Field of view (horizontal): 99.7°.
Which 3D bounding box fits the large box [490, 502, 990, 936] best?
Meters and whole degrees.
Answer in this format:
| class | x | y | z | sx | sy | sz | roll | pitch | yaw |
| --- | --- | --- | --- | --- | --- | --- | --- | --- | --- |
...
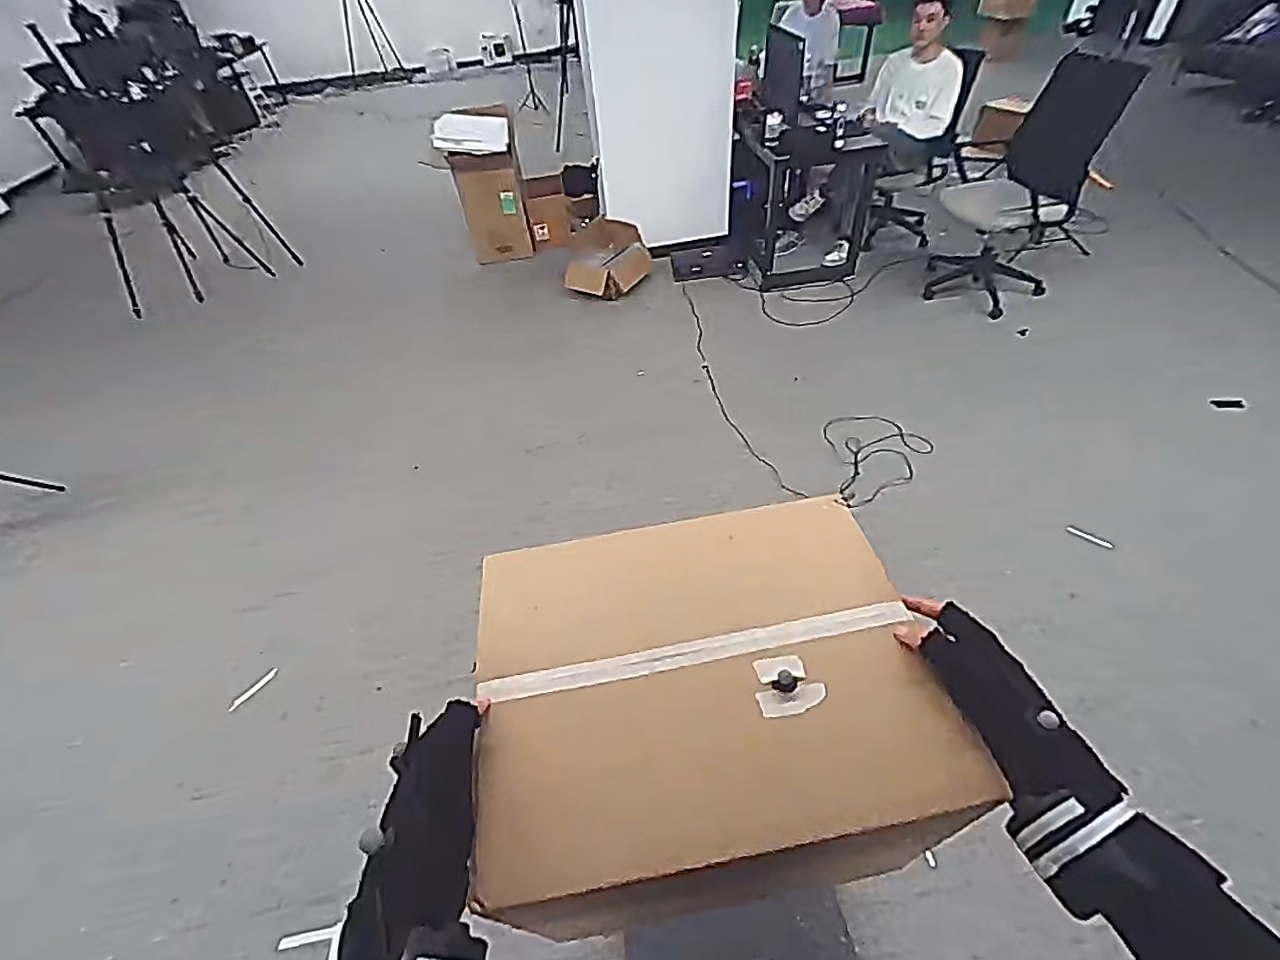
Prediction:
| class | x | y | z | sx | sy | sz | roll | pitch | yaw |
| --- | --- | --- | --- | --- | --- | --- | --- | --- | --- |
| large box | 0.068 | 0.269 | 0.618 | 0.408 | 0.320 | 0.320 | -9 | 46 | -3 |
